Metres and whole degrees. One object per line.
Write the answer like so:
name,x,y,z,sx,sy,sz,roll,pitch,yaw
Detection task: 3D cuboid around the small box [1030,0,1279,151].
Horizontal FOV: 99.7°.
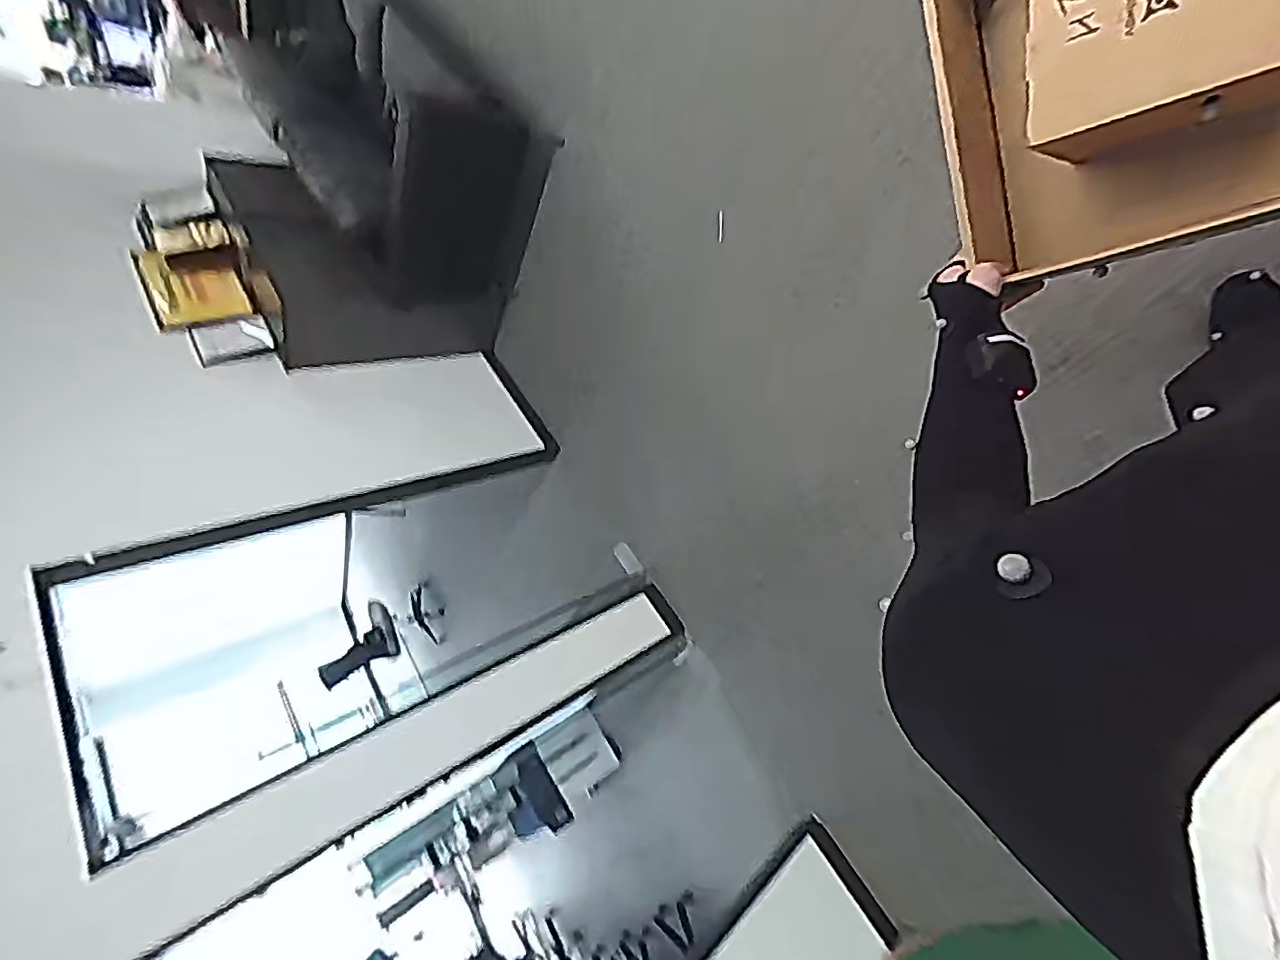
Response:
small box,0.494,-0.429,0.502,0.179,0.176,0.168,9,112,49
